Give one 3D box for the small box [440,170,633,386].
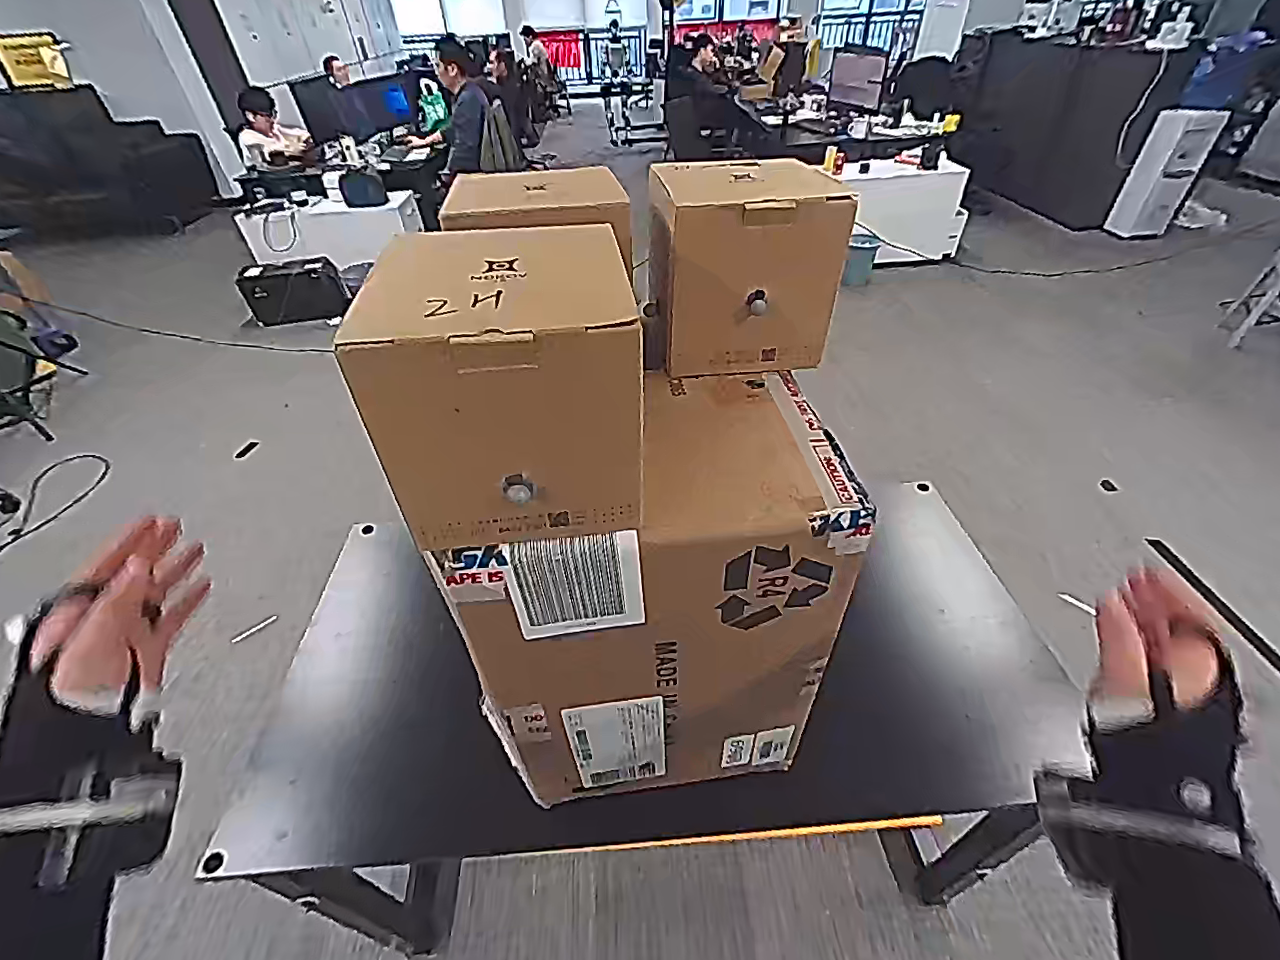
[{"bbox_3d":[-0.102,-0.220,0.583,0.168,0.176,0.179,-8,41,-6],"label":"small box"}]
